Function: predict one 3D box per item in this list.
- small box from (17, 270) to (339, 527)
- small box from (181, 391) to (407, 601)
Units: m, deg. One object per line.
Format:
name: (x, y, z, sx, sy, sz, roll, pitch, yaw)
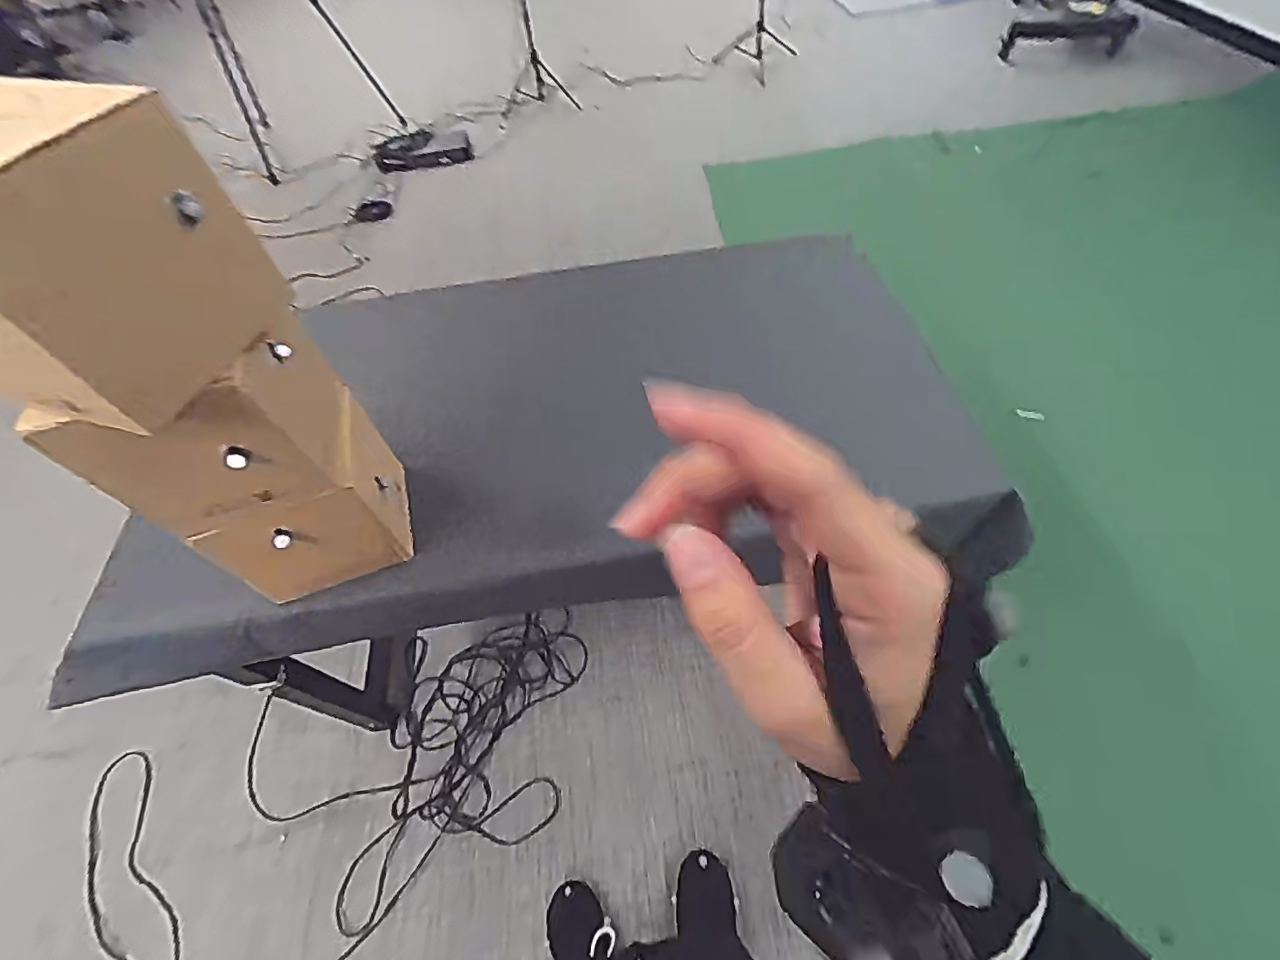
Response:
small box: (-0.425, -0.072, 0.541, 0.168, 0.176, 0.179, -16, 54, -7)
small box: (-0.406, 0.023, 0.671, 0.179, 0.176, 0.168, -19, 55, -8)
